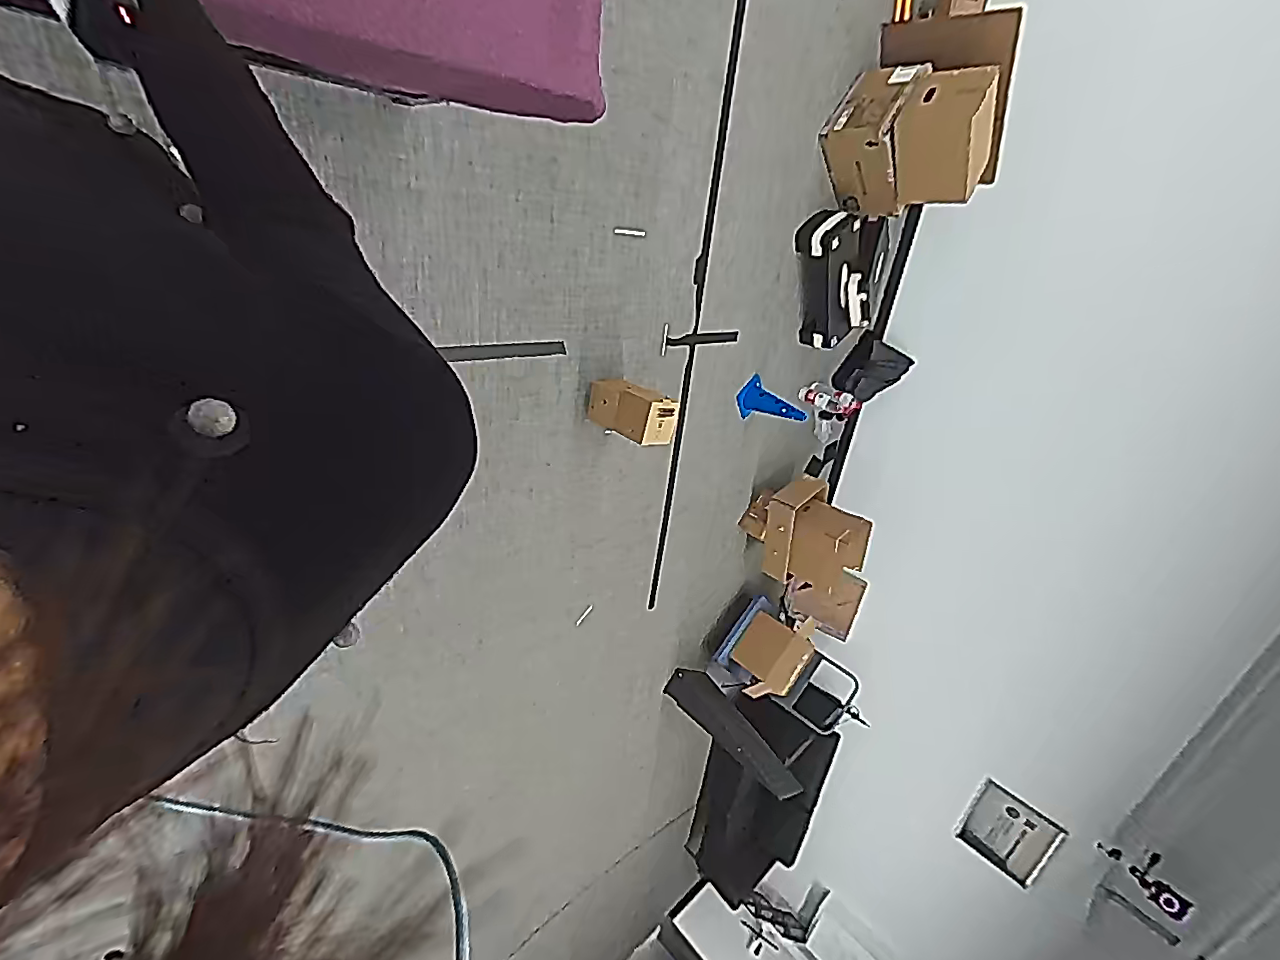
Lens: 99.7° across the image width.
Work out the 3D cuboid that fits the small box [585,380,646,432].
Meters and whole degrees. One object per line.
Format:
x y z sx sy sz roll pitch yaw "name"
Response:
-0.104 -0.307 2.212 0.179 0.176 0.168 -13 123 -43 "small box"
